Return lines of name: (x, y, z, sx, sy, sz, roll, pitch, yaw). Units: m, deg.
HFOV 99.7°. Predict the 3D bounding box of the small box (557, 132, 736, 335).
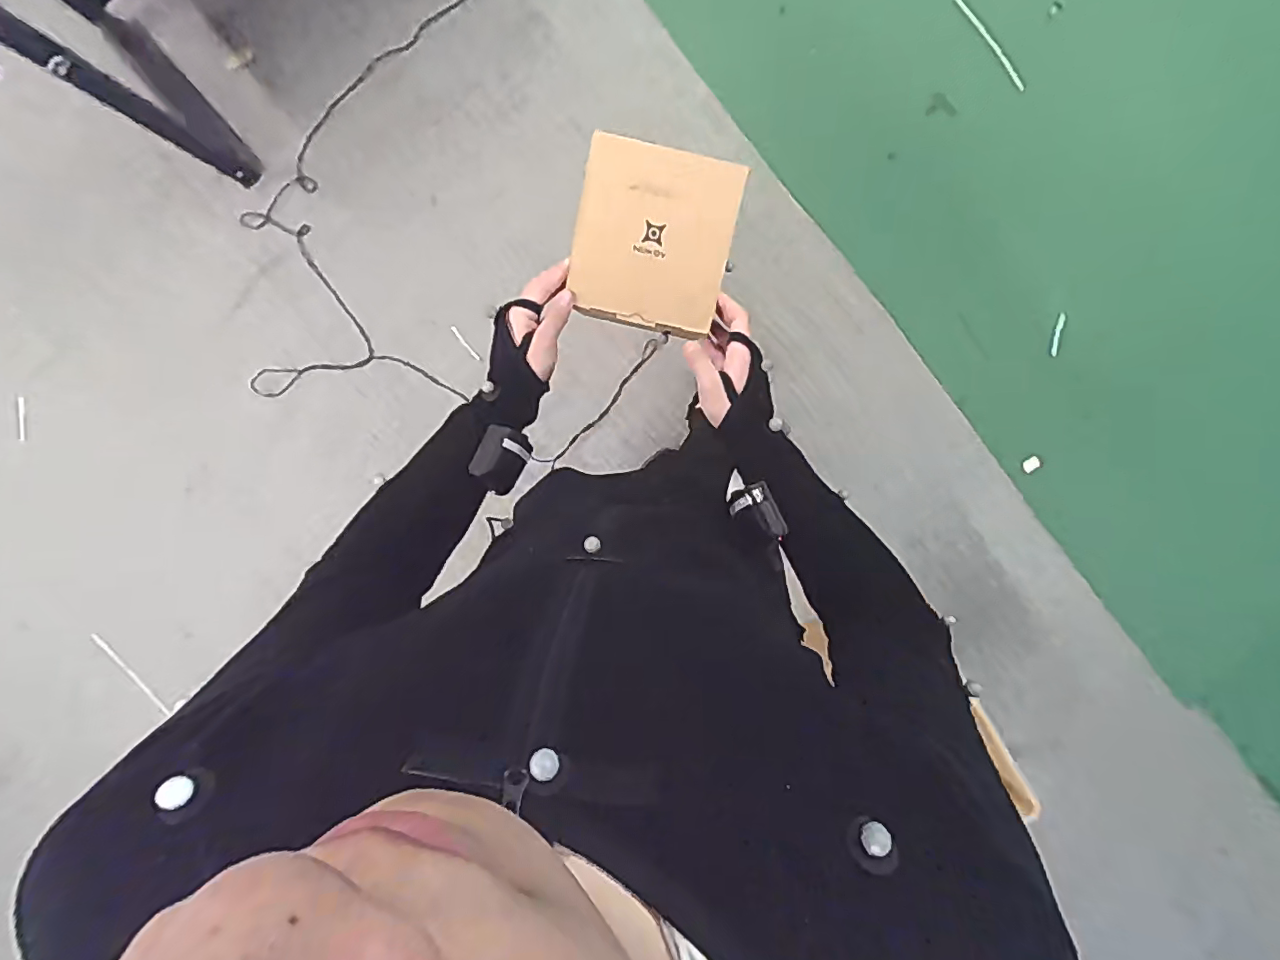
small box: (0.008, -0.281, 0.659, 0.168, 0.176, 0.179, 13, 104, -1)
